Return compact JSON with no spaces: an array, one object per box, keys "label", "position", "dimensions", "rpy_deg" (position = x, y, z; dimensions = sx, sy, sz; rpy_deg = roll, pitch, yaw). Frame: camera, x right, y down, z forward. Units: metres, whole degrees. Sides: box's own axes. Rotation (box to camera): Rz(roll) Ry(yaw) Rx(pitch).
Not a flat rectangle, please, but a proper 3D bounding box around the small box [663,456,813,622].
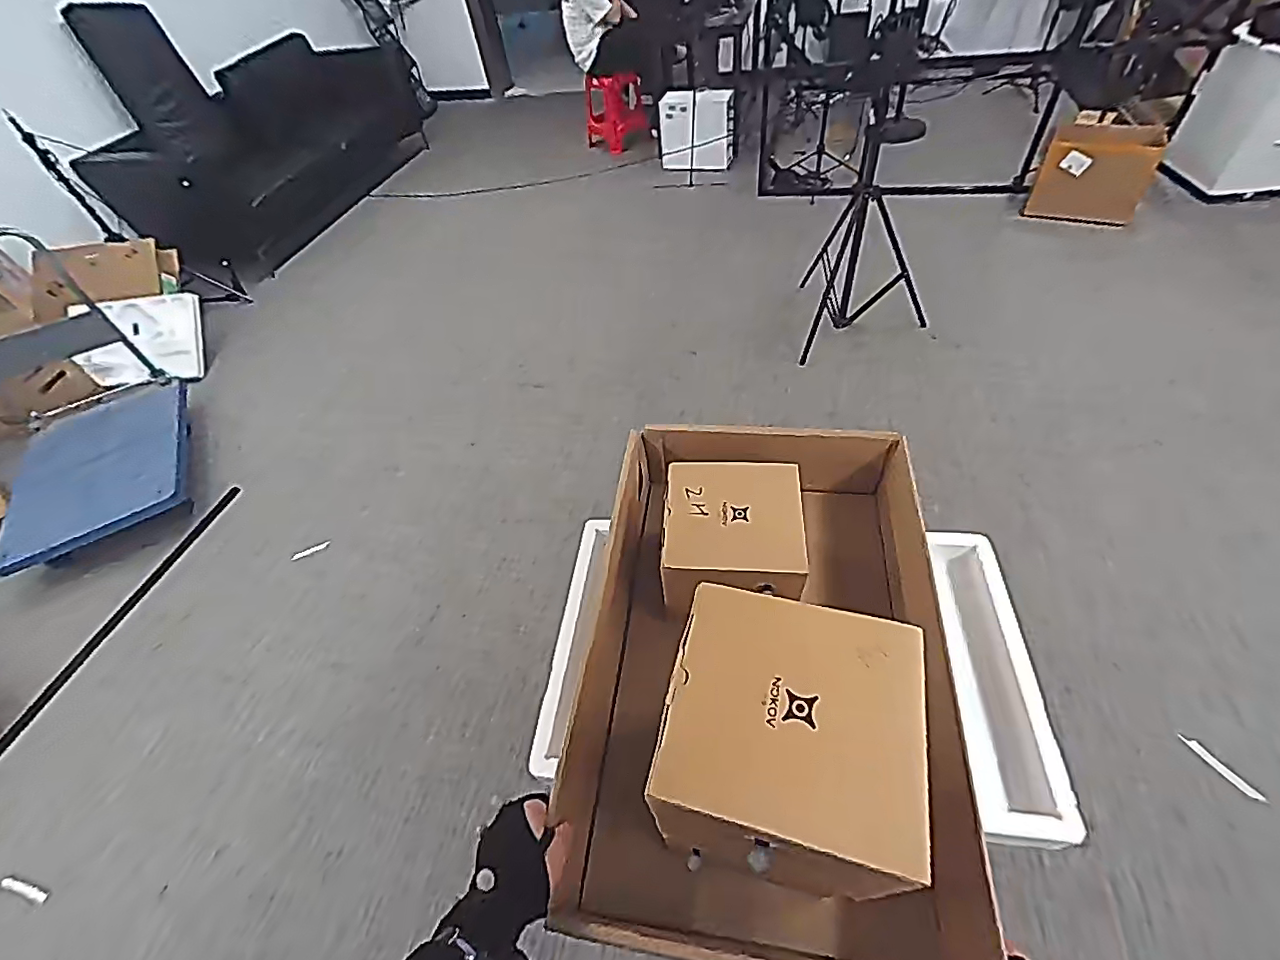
[{"label":"small box","position":[0.128,0.084,0.741],"dimensions":[0.179,0.176,0.168],"rpy_deg":[1,52,7]}]
